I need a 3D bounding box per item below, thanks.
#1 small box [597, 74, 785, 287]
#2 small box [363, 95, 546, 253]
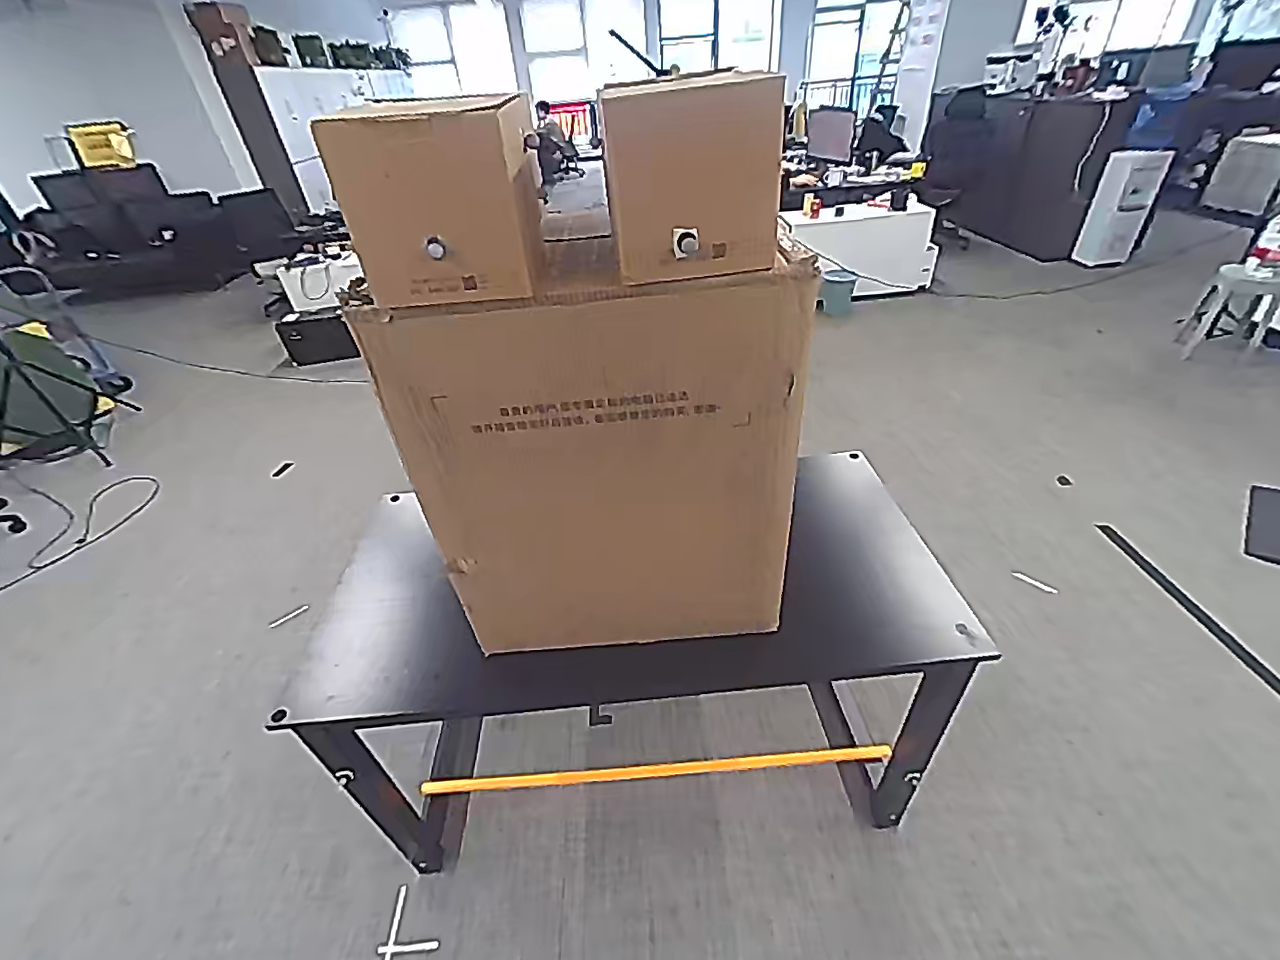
[{"bbox_3d":[0.047,-0.324,0.586,0.168,0.176,0.179,-9,38,-1],"label":"small box"},{"bbox_3d":[-0.236,-0.417,0.740,0.179,0.176,0.168,-4,36,0],"label":"small box"}]
